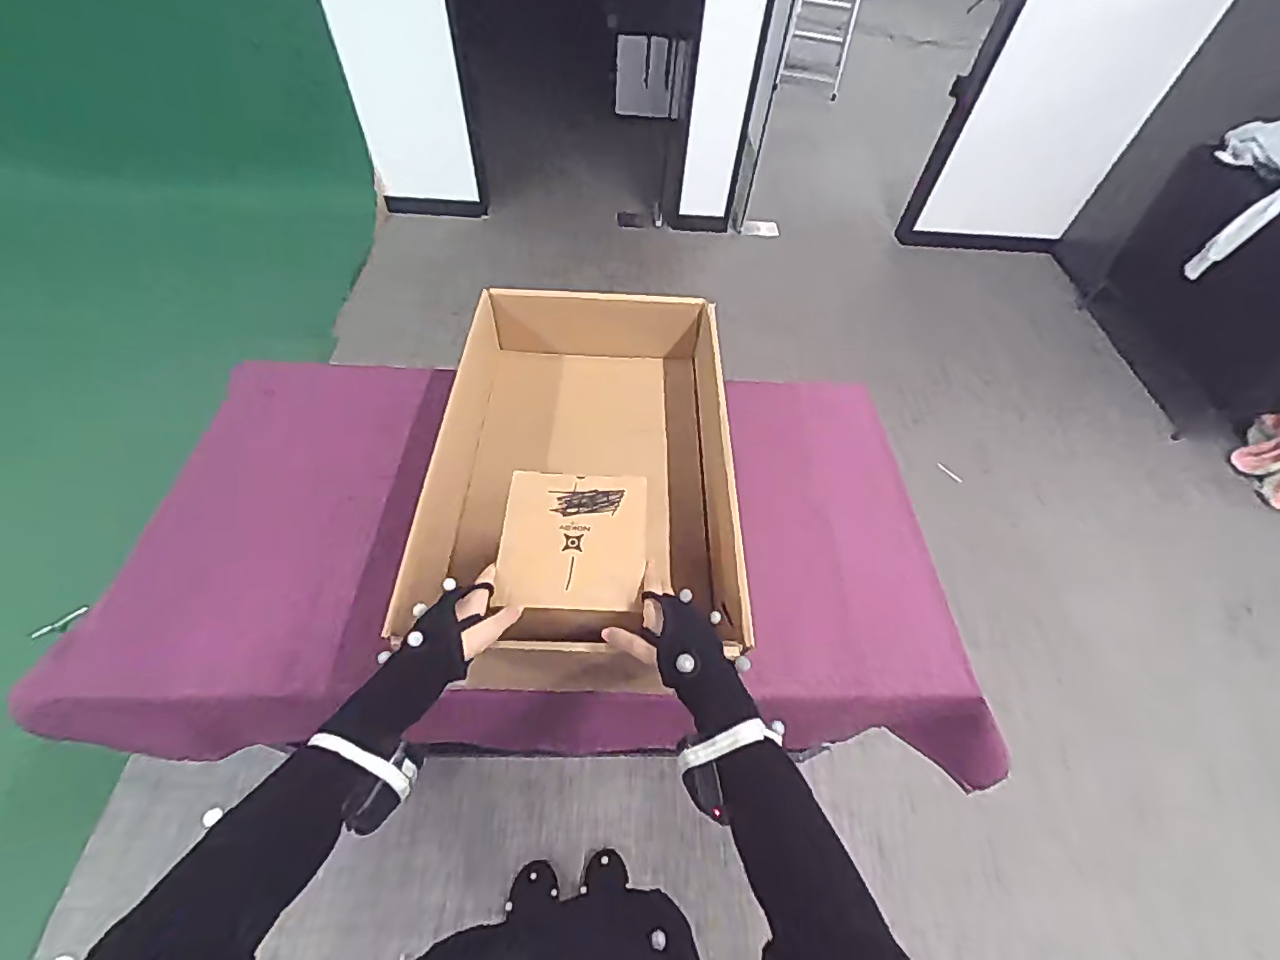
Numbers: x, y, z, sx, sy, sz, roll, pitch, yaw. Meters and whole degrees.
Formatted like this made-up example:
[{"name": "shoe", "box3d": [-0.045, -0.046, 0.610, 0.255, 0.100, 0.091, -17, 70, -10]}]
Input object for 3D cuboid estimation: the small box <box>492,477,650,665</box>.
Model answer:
[{"name": "small box", "box3d": [-0.077, 0.117, 0.680, 0.168, 0.176, 0.179, 3, 55, -2]}]
